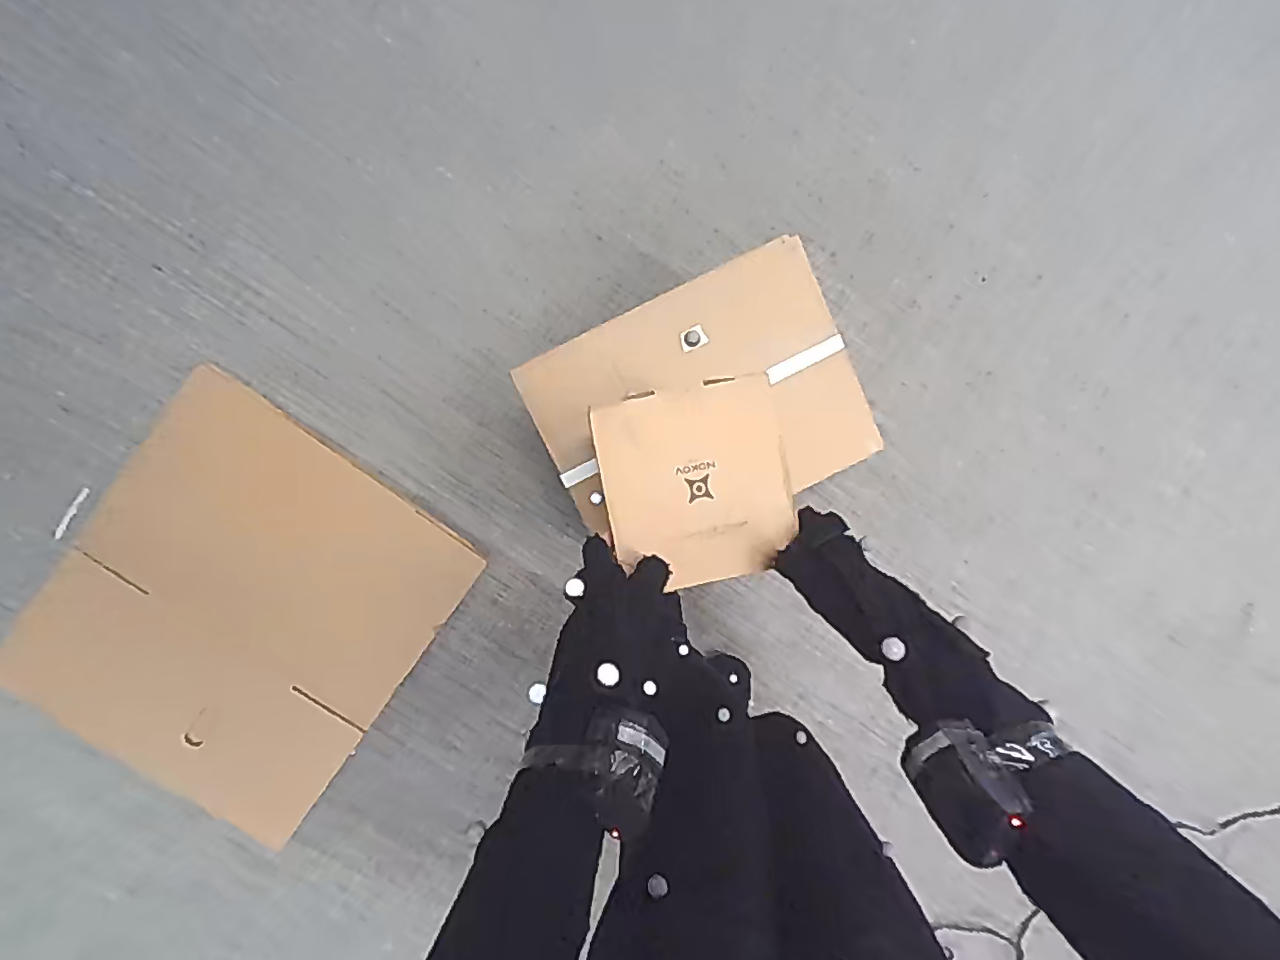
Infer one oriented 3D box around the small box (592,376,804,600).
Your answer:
[{"bbox_3d":[0.047,0.007,0.563,0.168,0.176,0.179,-13,91,-3],"label":"small box"}]
